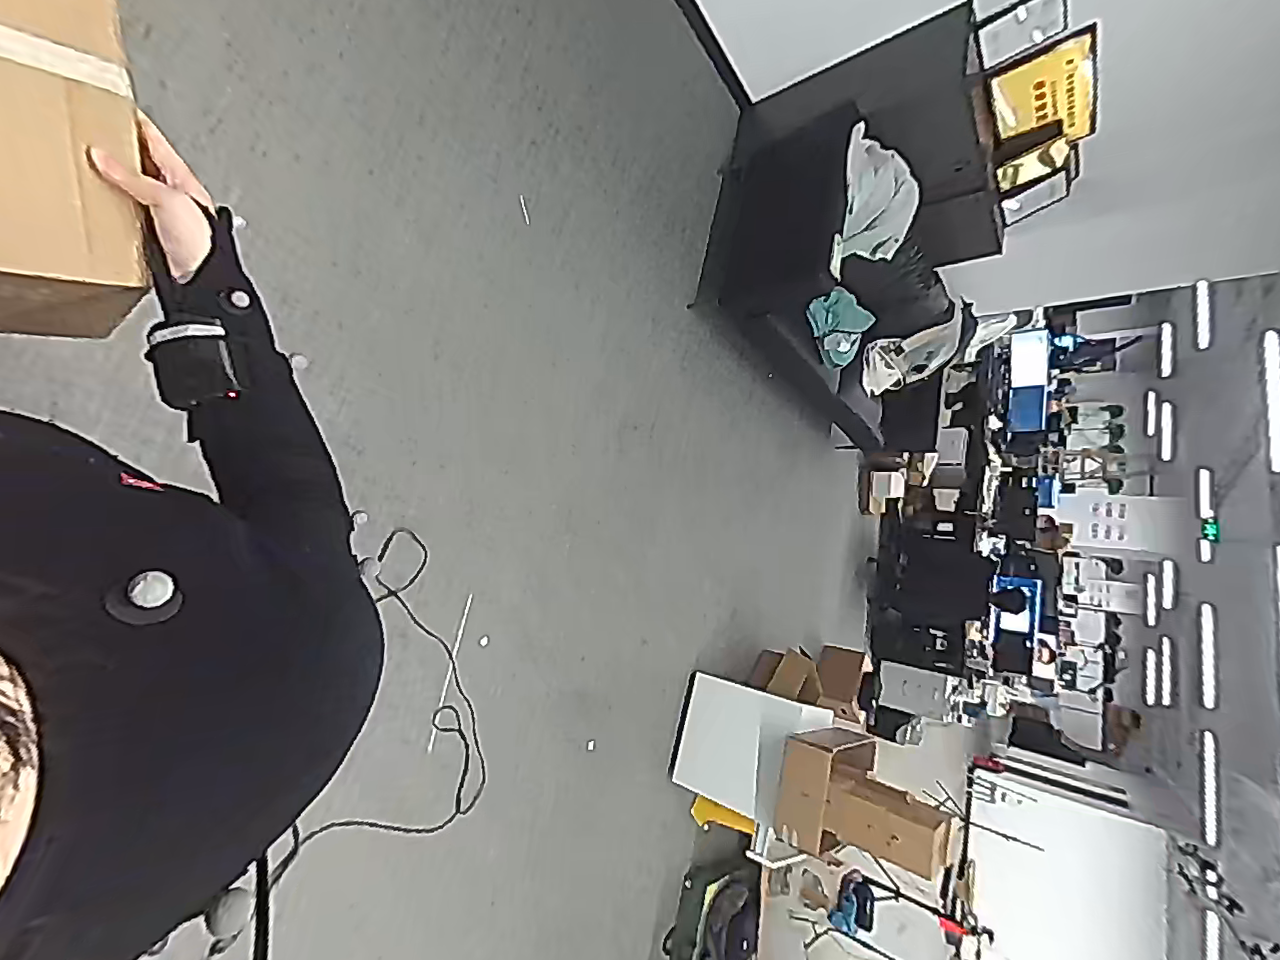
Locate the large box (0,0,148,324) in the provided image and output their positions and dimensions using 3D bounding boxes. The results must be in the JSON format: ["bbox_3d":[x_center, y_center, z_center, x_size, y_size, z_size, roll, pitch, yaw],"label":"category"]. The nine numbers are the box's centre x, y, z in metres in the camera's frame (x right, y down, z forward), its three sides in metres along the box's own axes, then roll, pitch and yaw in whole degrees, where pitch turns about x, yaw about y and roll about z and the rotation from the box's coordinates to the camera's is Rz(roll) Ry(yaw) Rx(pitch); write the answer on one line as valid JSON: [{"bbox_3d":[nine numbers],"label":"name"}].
[{"bbox_3d":[-0.654,-0.302,0.369,0.408,0.320,0.320,-10,100,-51],"label":"large box"}]
